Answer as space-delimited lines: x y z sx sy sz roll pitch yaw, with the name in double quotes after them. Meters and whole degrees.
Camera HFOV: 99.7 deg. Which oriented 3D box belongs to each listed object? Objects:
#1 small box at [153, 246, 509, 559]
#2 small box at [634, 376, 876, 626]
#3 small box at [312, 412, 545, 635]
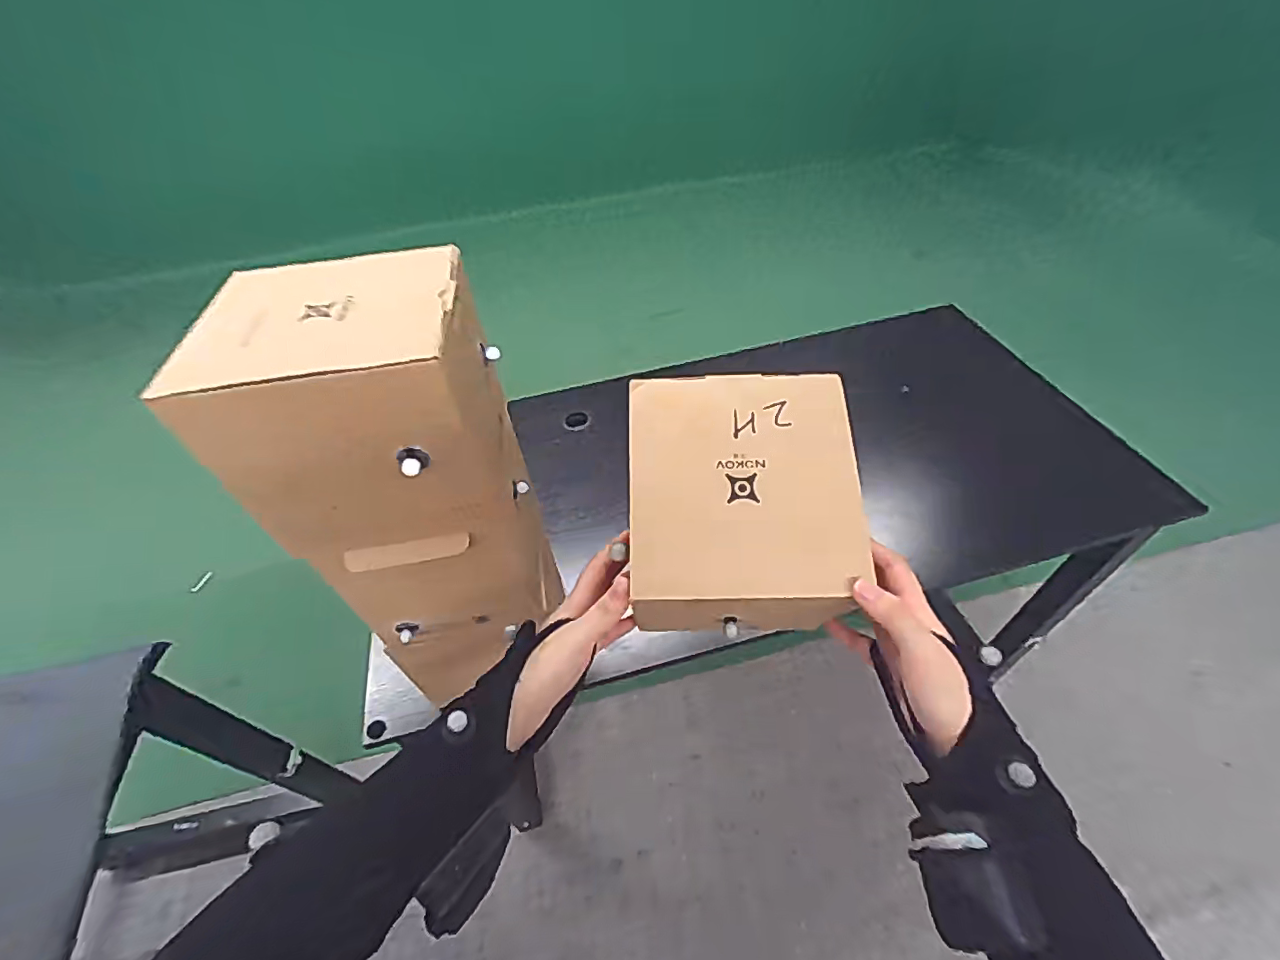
-0.207 -0.059 0.432 0.179 0.176 0.168 -11 47 -3 "small box"
0.081 0.031 0.470 0.168 0.176 0.179 -2 67 2 "small box"
-0.197 0.042 0.558 0.168 0.176 0.179 -10 47 -4 "small box"
